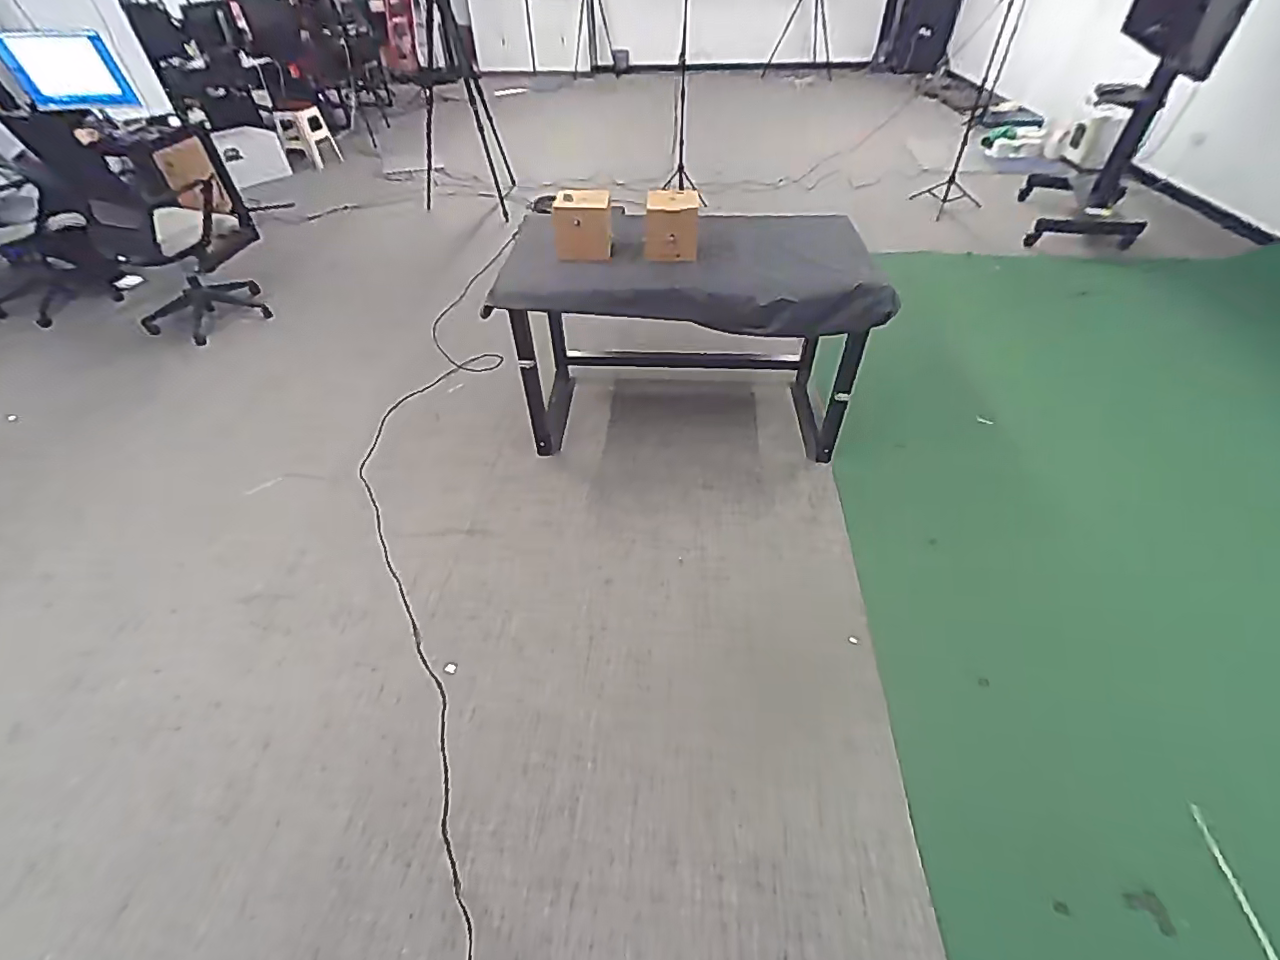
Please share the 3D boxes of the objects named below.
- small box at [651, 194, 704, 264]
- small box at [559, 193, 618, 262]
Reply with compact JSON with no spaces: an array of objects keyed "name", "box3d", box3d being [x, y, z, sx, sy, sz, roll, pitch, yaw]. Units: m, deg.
[{"name":"small box","box3d":[0.126,-0.829,1.788,0.168,0.176,0.179,2,45,3]},{"name":"small box","box3d":[-0.167,-0.843,1.807,0.179,0.176,0.168,1,45,1]}]
